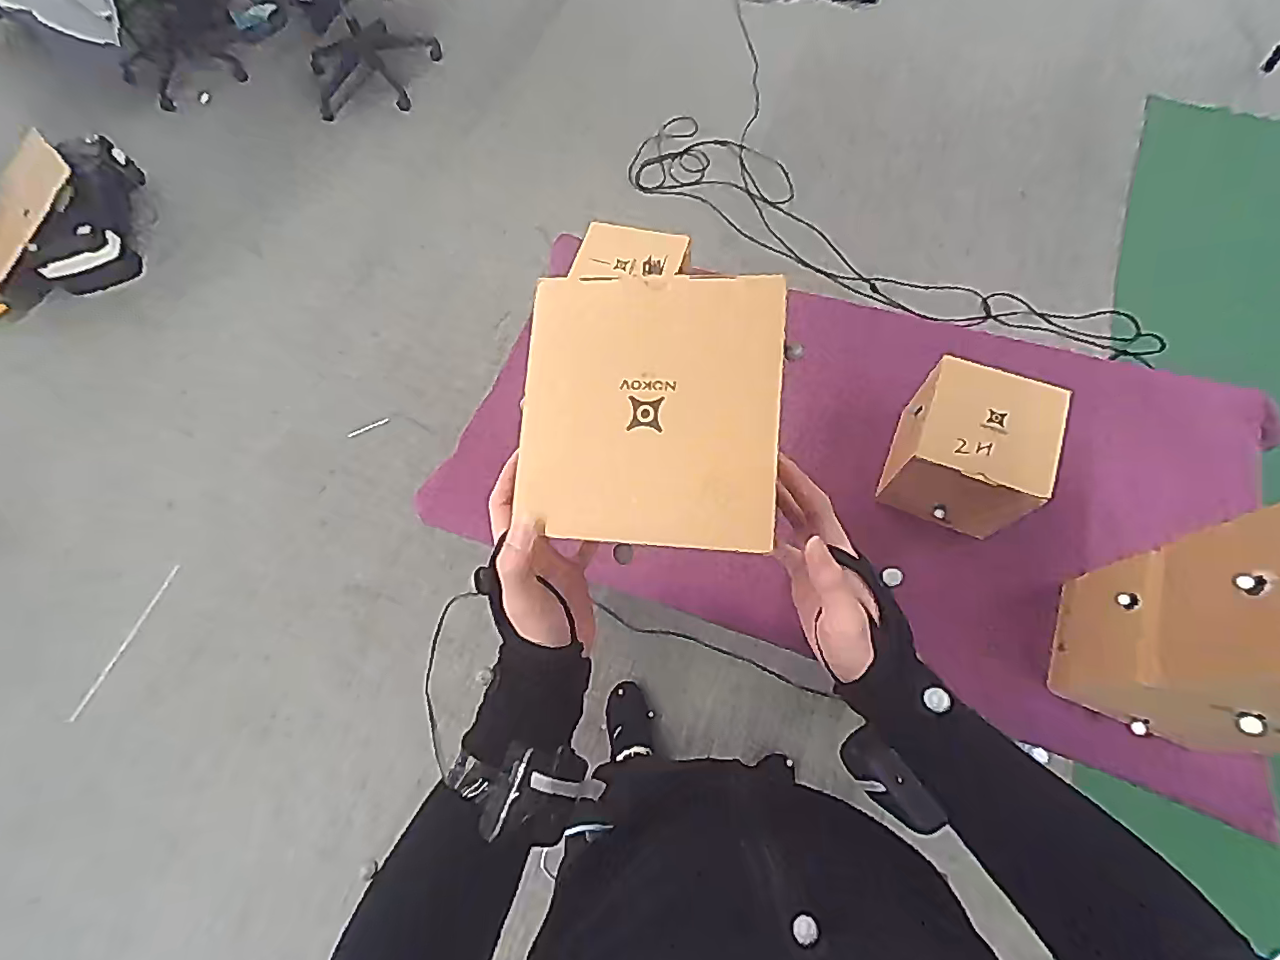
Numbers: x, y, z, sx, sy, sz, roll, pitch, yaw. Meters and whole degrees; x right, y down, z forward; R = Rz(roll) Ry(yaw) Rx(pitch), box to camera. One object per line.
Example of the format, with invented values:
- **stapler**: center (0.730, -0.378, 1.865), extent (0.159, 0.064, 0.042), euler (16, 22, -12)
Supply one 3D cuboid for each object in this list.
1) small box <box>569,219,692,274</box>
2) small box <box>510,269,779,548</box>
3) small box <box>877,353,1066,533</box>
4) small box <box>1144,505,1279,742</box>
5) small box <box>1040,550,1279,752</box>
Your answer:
- **small box**: center (-0.015, -0.315, 0.940), extent (0.179, 0.176, 0.168), euler (14, 69, 11)
- **small box**: center (0.017, -0.040, 0.422), extent (0.168, 0.176, 0.179), euler (3, 82, 11)
- **small box**: center (0.471, -0.047, 0.792), extent (0.168, 0.176, 0.179), euler (22, 71, 13)
- **small box**: center (0.641, 0.144, 0.521), extent (0.168, 0.176, 0.179), euler (21, 70, 14)
- **small box**: center (0.650, 0.211, 0.669), extent (0.179, 0.176, 0.168), euler (22, 70, 13)
